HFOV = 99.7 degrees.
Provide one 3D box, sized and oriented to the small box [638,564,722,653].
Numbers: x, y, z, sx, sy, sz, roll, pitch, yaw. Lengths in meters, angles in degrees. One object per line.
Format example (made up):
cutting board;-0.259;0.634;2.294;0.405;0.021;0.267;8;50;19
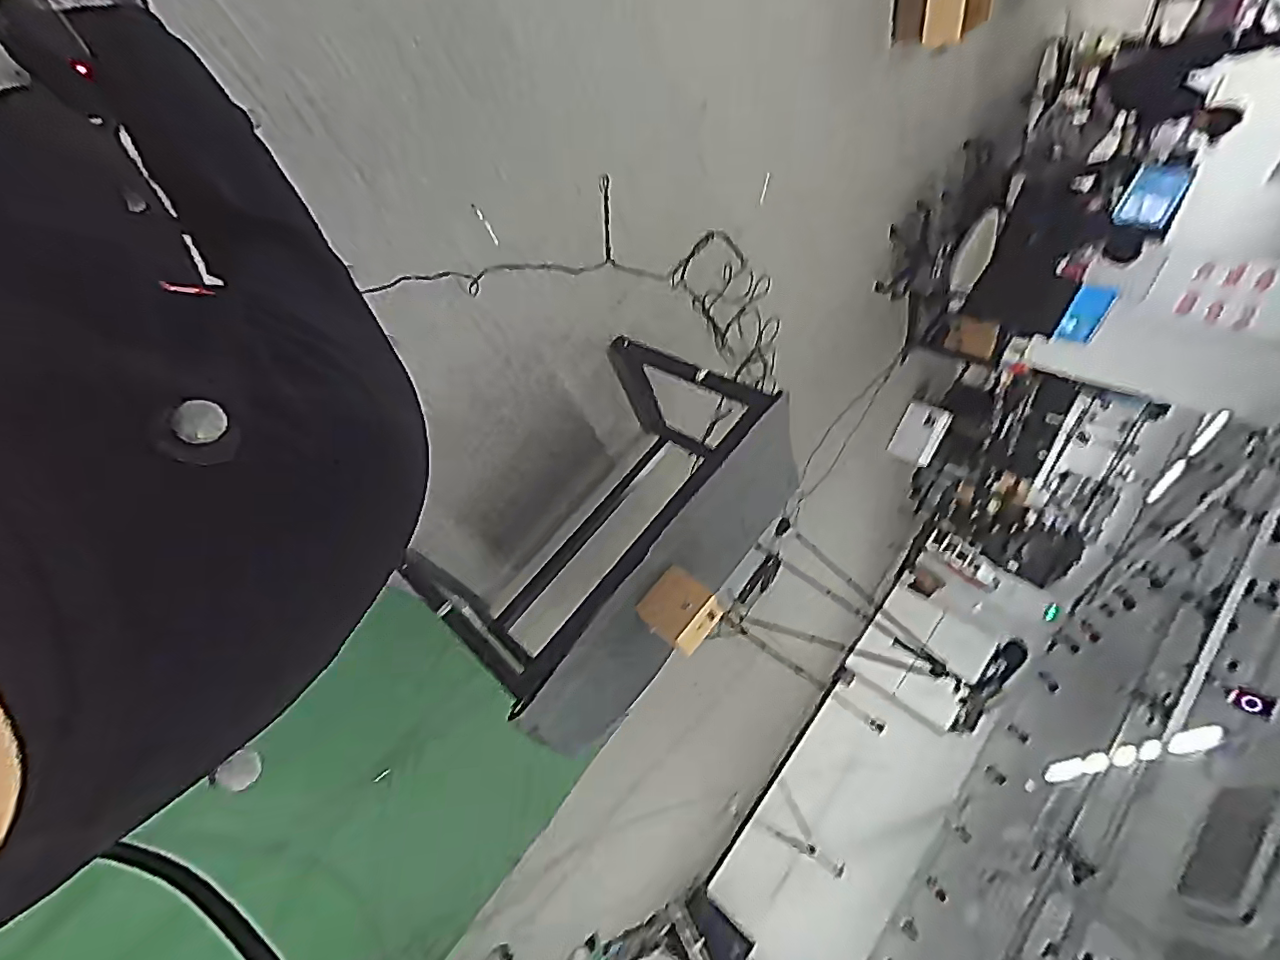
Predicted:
small box;0.121;0.386;1.643;0.179;0.176;0.168;-47;144;-16
